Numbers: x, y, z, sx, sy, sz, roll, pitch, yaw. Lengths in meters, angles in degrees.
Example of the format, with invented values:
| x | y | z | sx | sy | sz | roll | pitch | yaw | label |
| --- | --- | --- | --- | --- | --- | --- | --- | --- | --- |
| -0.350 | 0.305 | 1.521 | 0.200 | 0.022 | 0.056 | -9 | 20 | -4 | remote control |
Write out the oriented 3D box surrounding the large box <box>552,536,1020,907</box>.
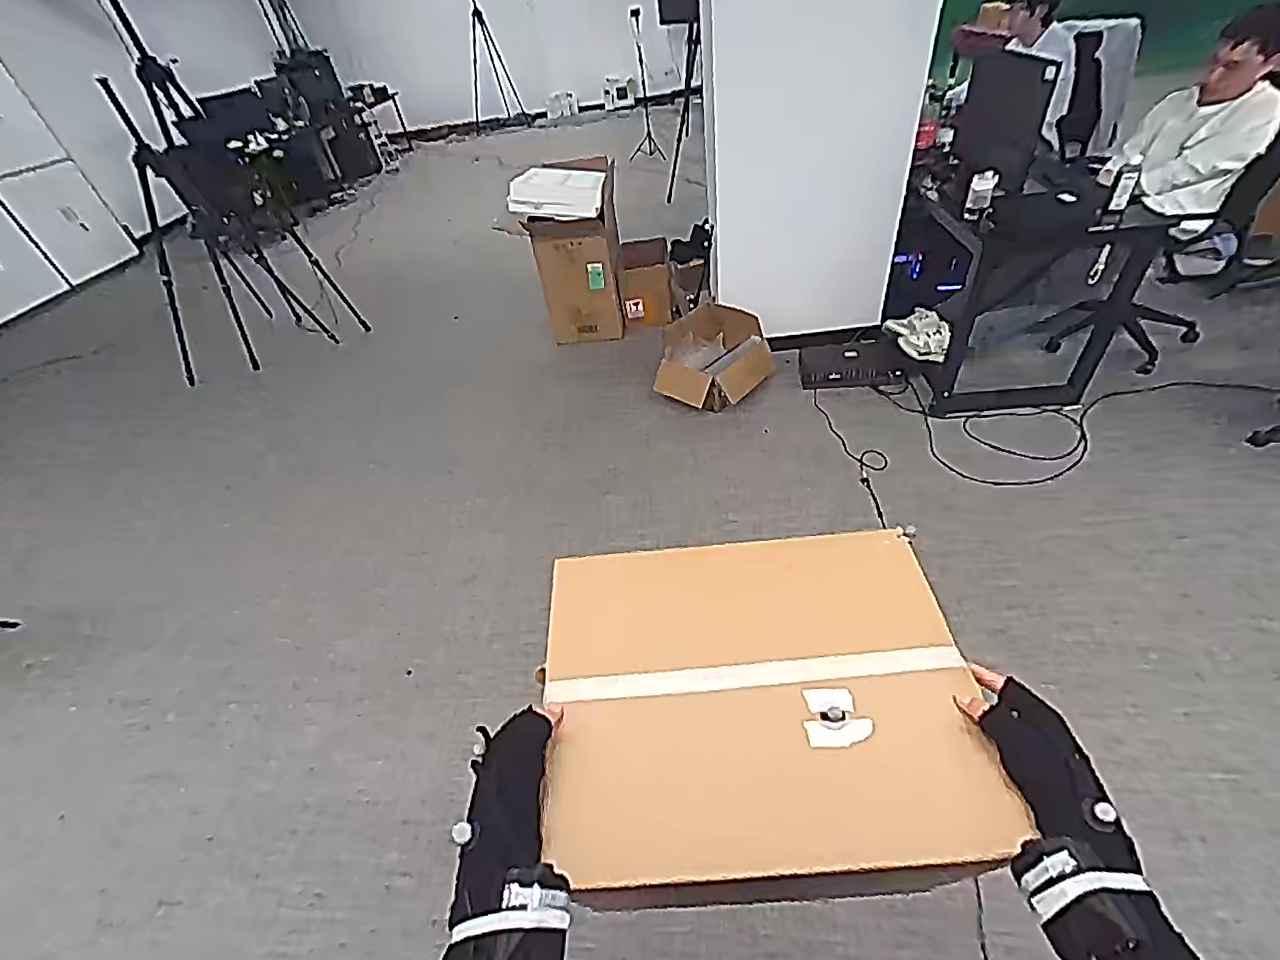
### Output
| x | y | z | sx | sy | sz | roll | pitch | yaw | label |
| --- | --- | --- | --- | --- | --- | --- | --- | --- | --- |
| 0.122 | 0.299 | 0.659 | 0.408 | 0.320 | 0.320 | -5 | 49 | 1 | large box |
